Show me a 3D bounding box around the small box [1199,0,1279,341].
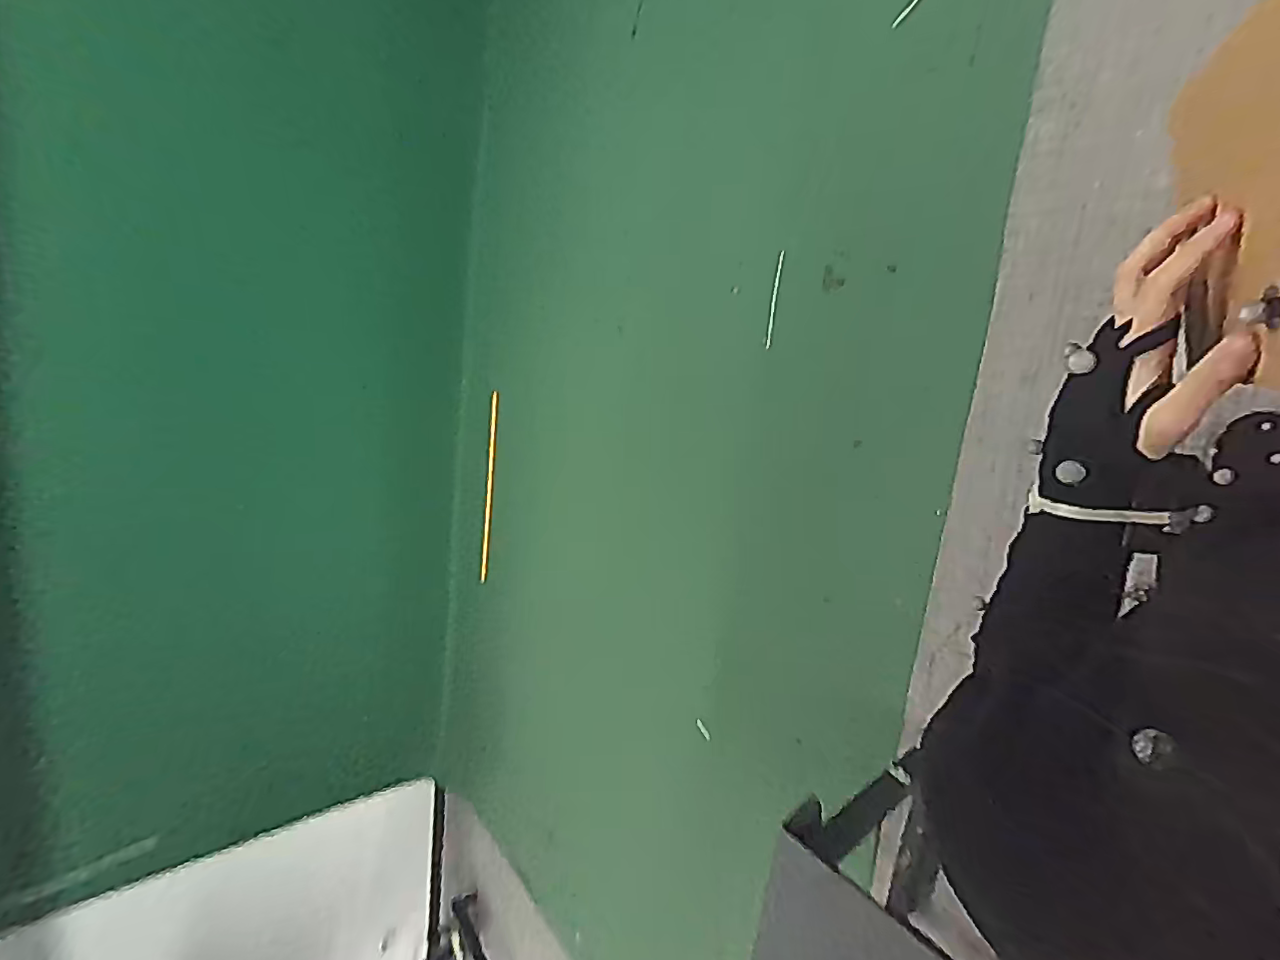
[{"bbox_3d":[0.390,-0.164,0.238,0.168,0.176,0.179,-8,100,33],"label":"small box"}]
